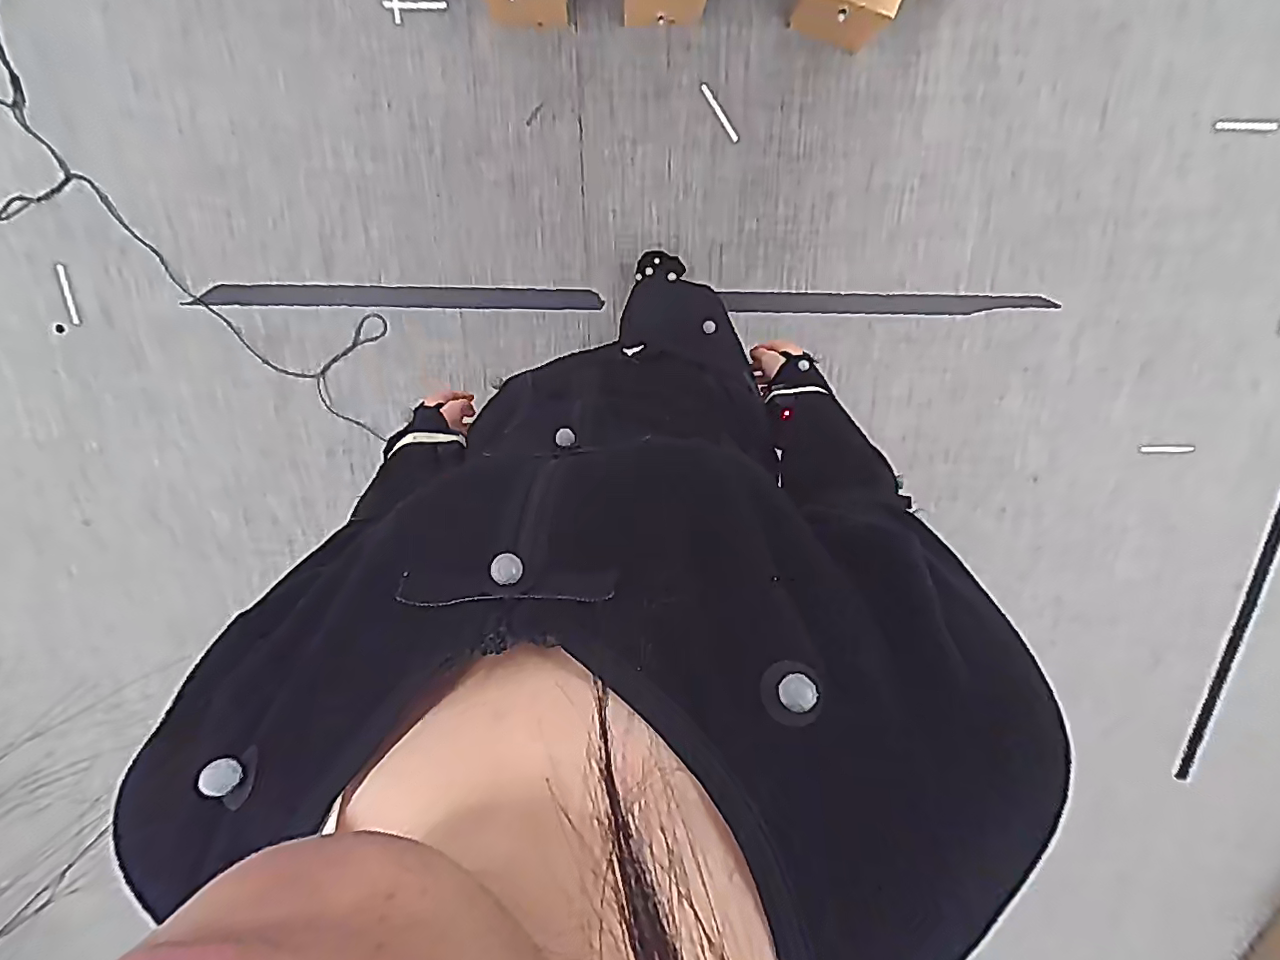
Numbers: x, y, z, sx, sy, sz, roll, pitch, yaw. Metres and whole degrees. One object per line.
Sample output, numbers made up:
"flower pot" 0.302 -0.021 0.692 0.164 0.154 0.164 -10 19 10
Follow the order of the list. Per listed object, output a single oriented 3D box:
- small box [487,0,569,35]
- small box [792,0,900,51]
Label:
"small box" -0.231 -1.046 1.086 0.168 0.176 0.179 1 106 -3
"small box" 0.442 -1.034 1.119 0.179 0.176 0.168 16 107 -6
